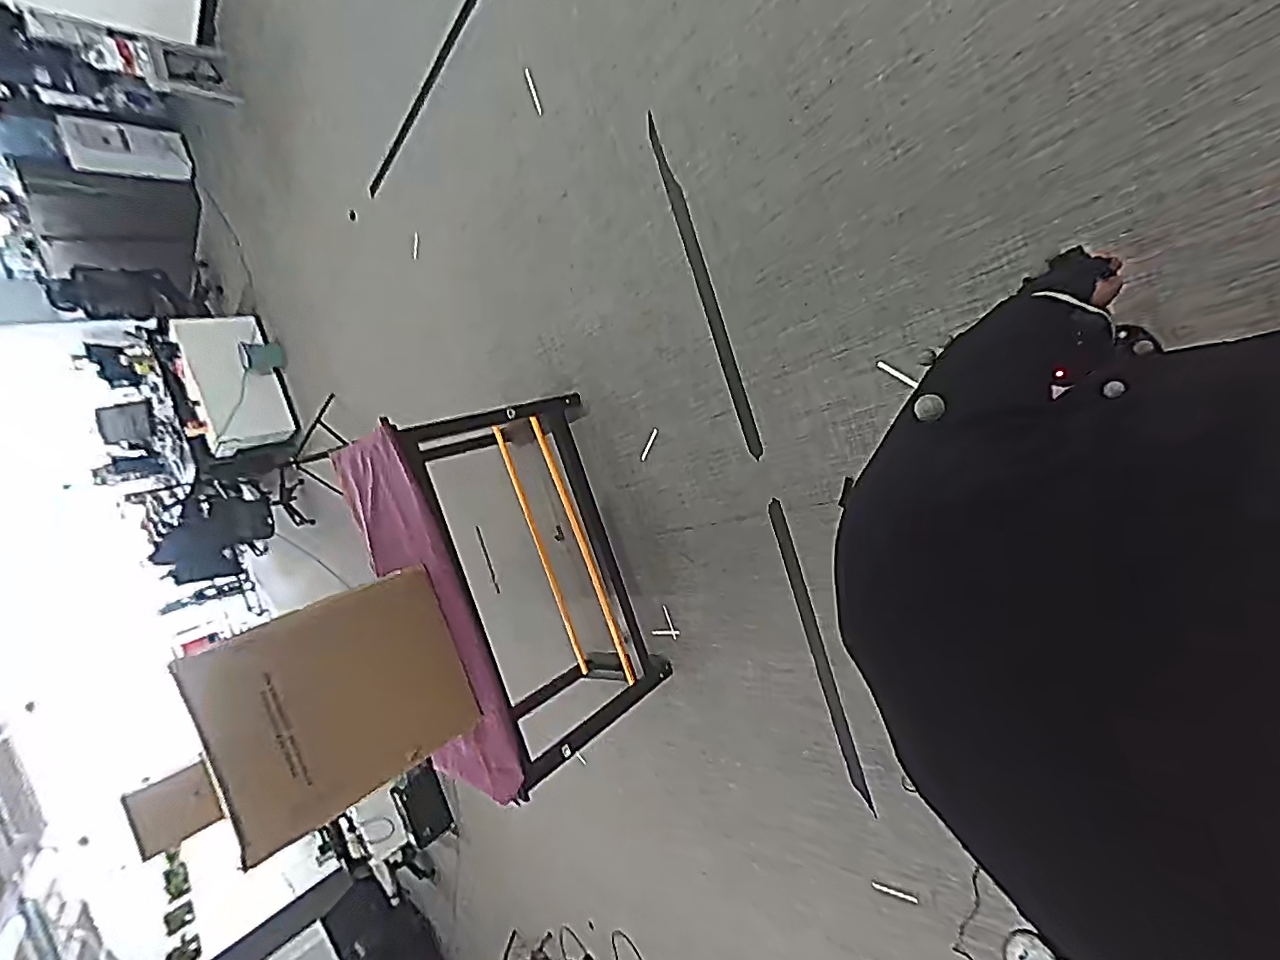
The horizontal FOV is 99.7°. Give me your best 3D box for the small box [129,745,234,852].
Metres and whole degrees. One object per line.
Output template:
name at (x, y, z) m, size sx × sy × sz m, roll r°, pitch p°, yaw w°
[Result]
small box at (-1.196, 0.831, 1.413) m, size 0.168 × 0.176 × 0.179 m, roll -18°, pitch 91°, yaw 46°
